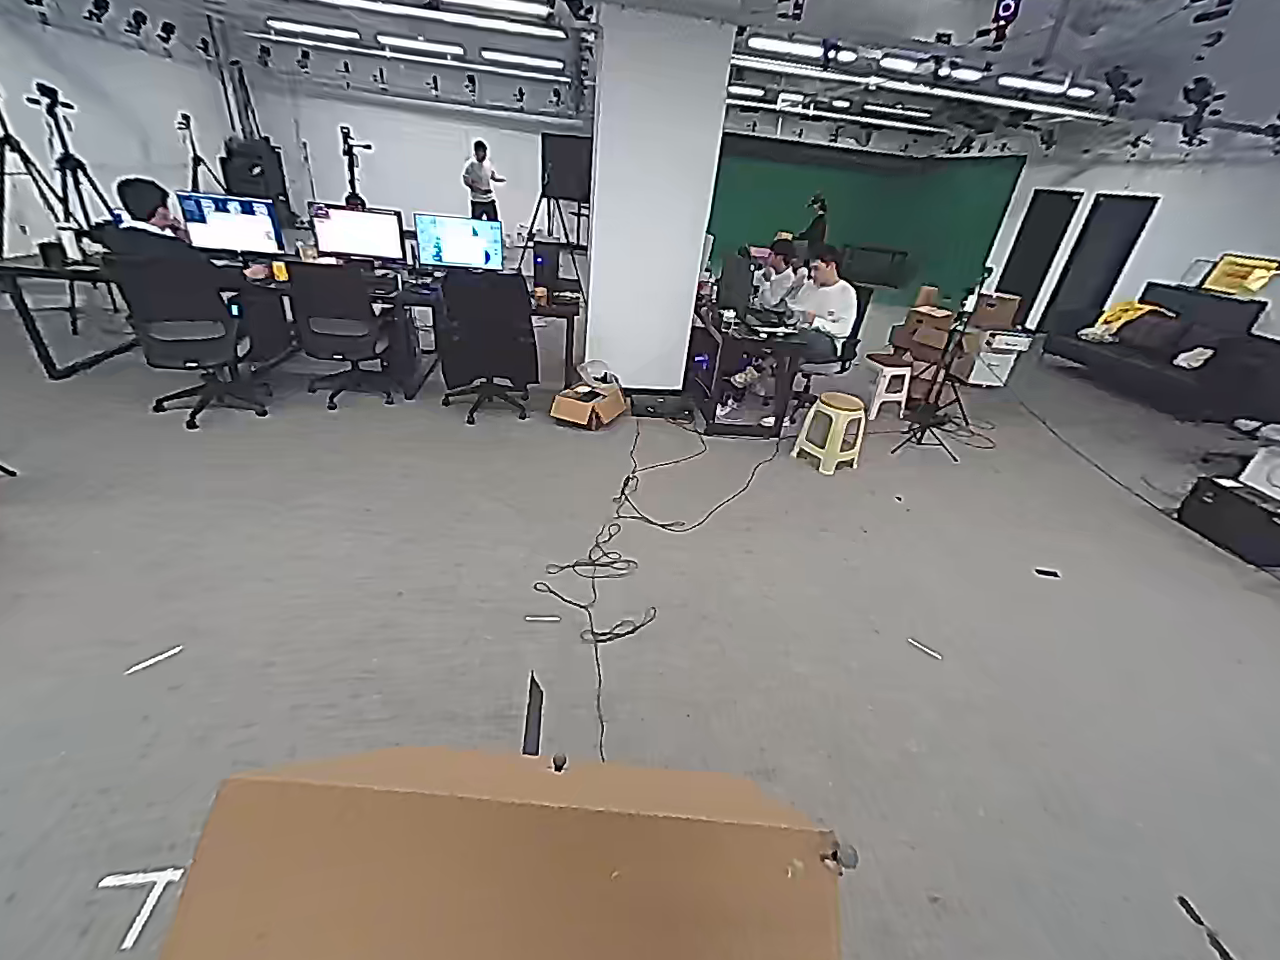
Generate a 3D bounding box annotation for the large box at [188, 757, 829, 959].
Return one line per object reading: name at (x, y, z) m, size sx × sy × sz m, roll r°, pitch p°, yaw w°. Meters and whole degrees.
large box at (-0.089, 0.419, 0.444) m, size 0.408 × 0.320 × 0.320 m, roll 4°, pitch 68°, yaw 0°
